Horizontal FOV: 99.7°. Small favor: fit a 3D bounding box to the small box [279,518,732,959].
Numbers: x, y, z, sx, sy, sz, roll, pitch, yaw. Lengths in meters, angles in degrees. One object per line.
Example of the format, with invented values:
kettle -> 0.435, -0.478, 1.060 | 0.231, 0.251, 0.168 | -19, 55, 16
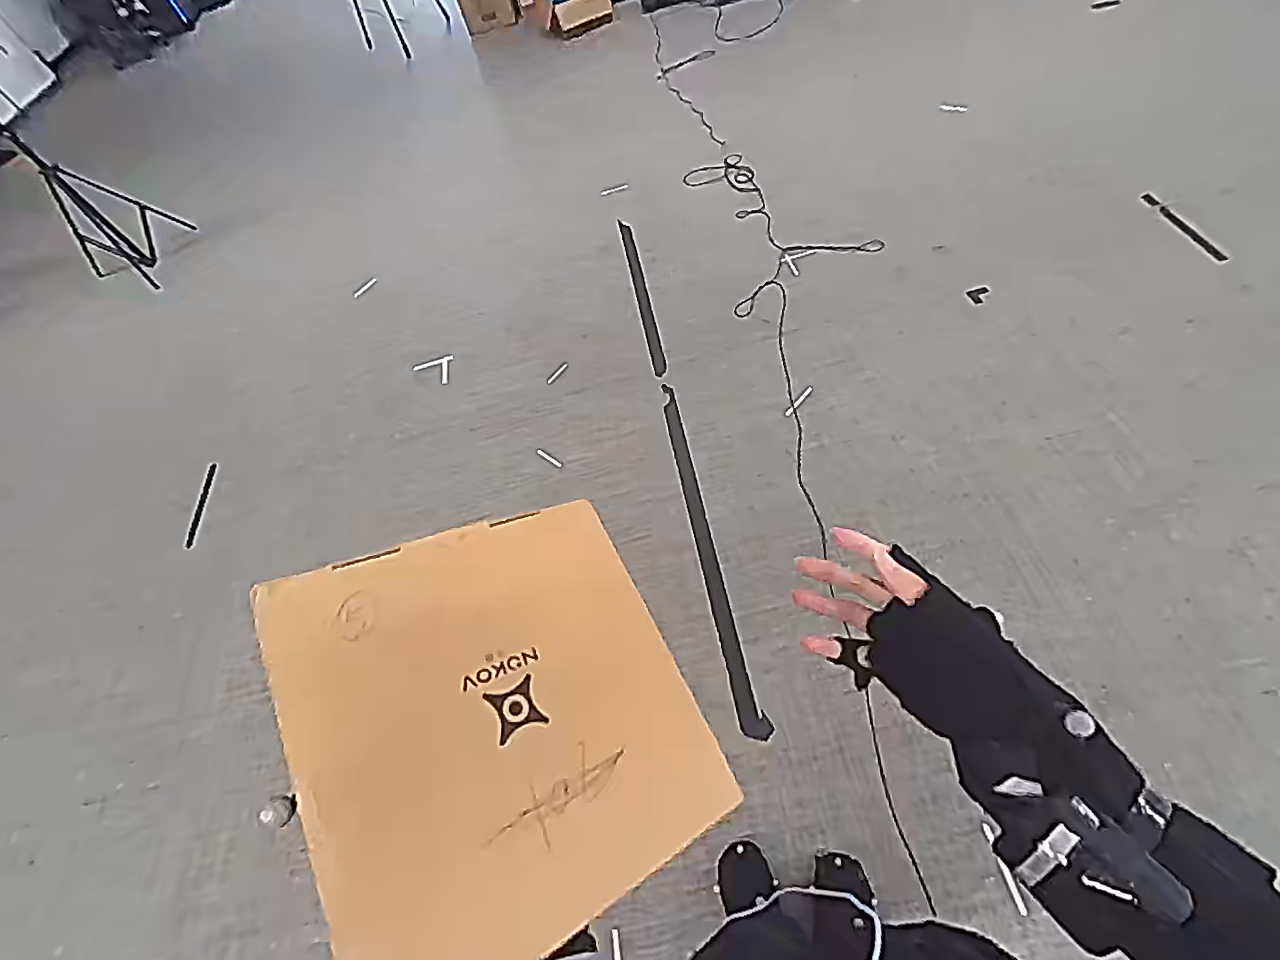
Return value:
small box -> -0.088, 0.152, 0.310 | 0.168, 0.176, 0.179 | -15, 64, -34
